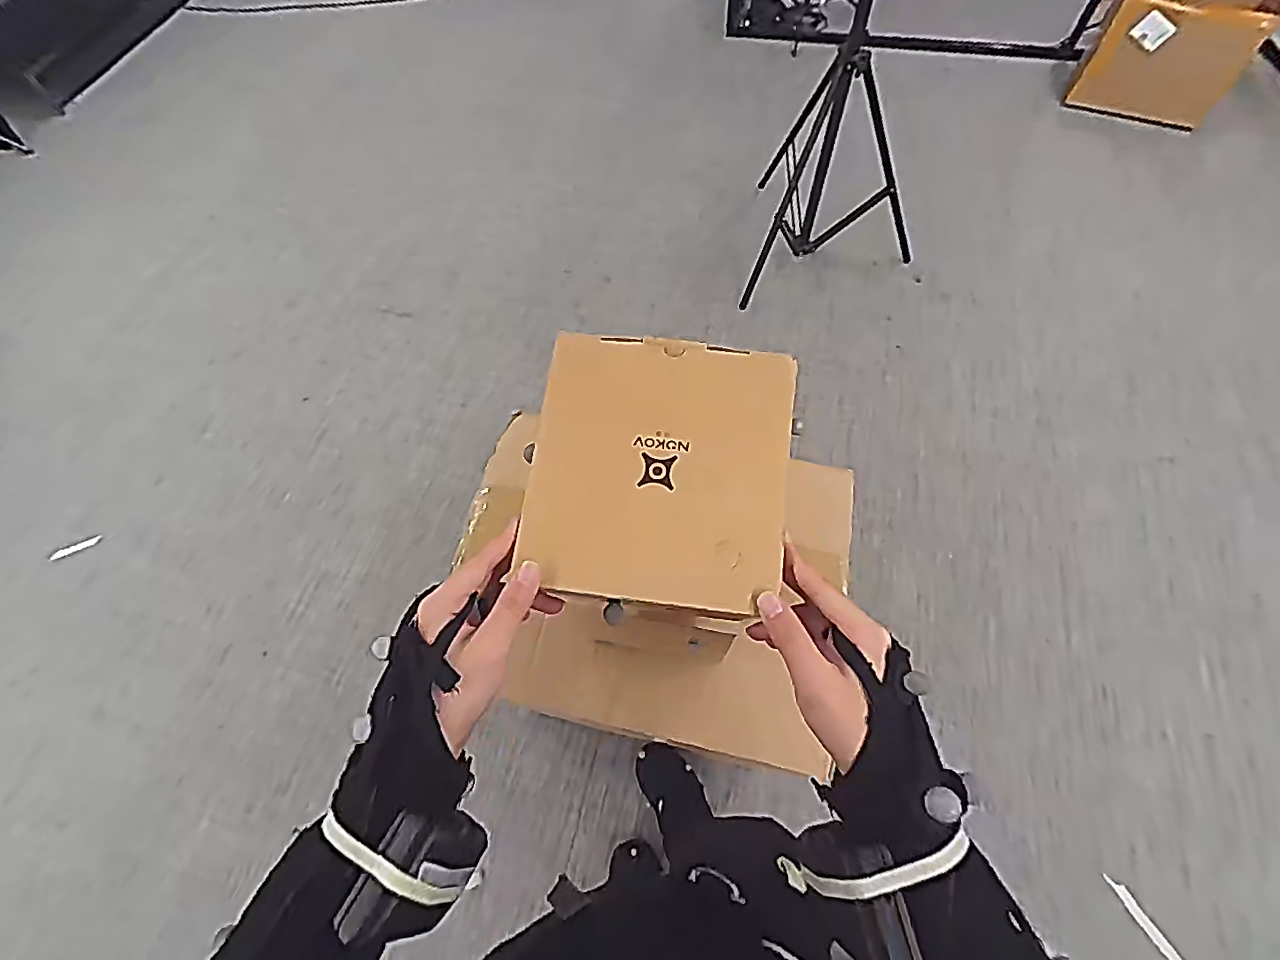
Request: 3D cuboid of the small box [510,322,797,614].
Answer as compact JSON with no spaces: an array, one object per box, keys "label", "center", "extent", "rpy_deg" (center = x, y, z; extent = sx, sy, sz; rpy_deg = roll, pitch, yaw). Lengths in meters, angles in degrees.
[{"label":"small box","center":[0.016,0.005,0.417],"extent":[0.168,0.176,0.179],"rpy_deg":[6,74,4]}]
